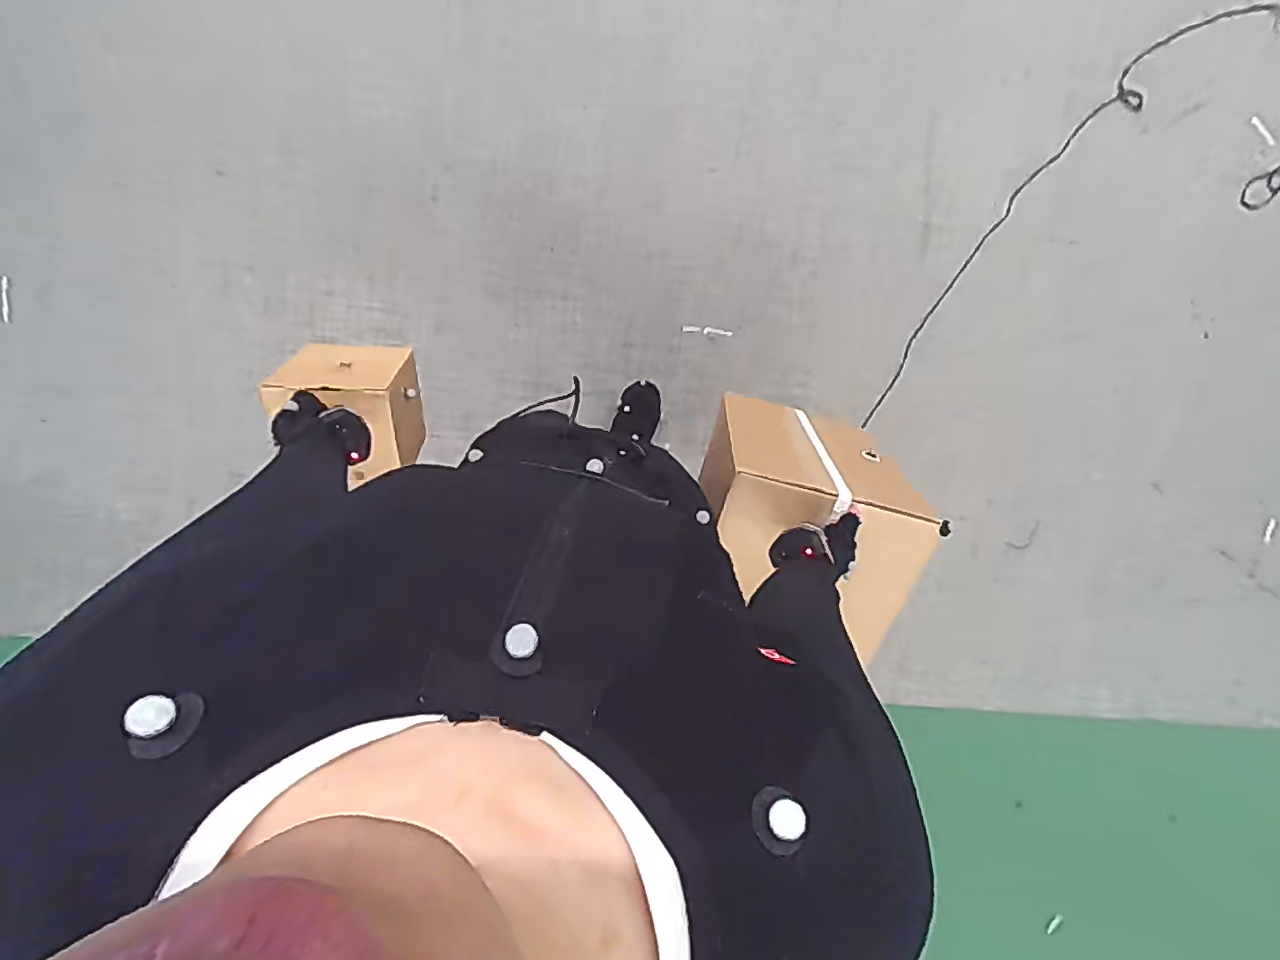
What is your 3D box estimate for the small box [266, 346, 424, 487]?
[{"bbox_3d":[-0.451,-0.103,0.862,0.168,0.179,0.176,-1,122,-9],"label":"small box"}]
